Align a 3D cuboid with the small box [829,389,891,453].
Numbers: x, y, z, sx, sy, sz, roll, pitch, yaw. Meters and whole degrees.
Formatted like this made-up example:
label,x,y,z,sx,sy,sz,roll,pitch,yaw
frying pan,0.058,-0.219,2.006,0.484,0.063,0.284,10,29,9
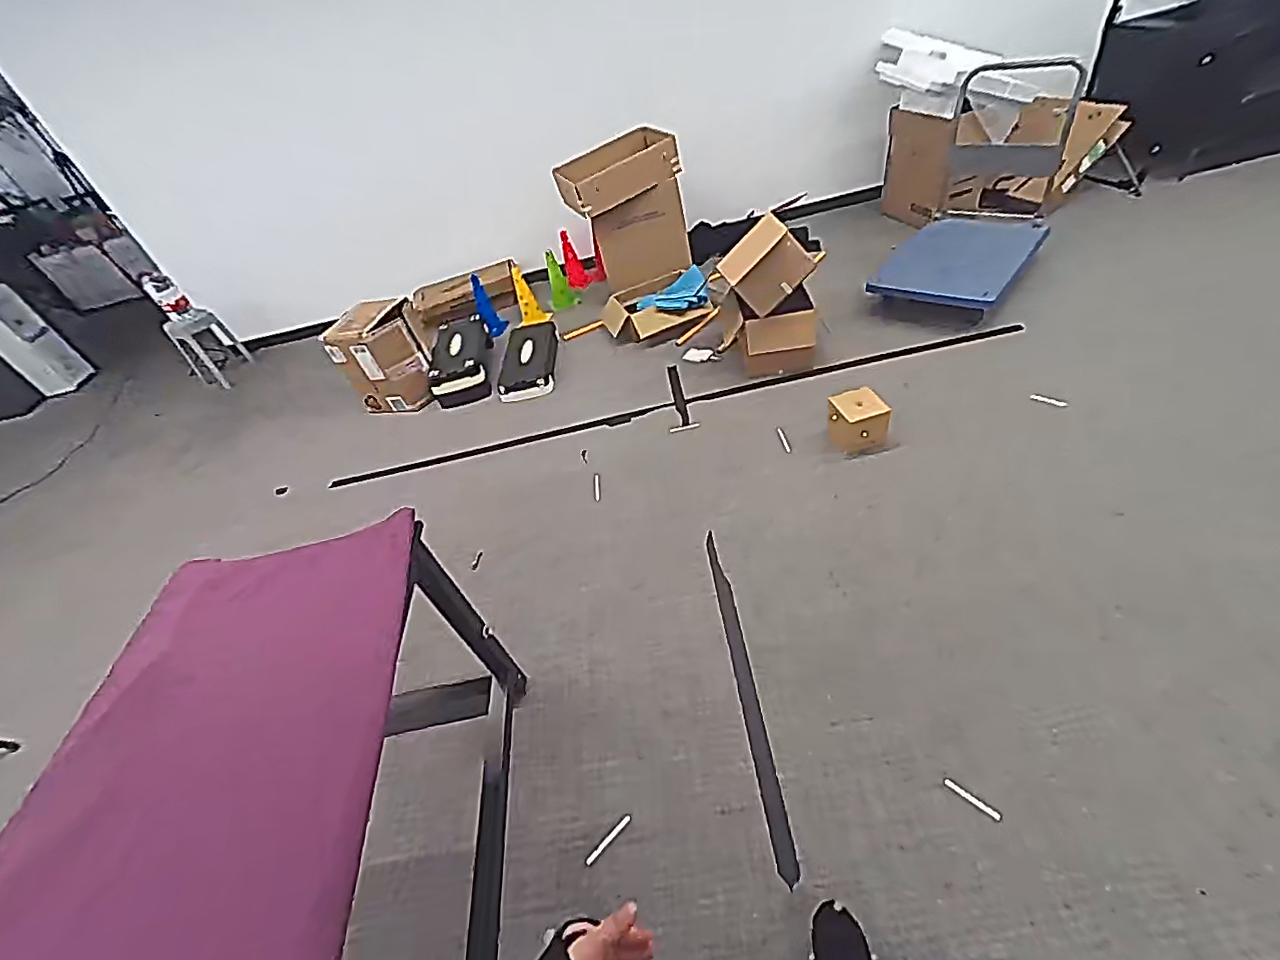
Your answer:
label,x,y,z,sx,sy,sz,roll,pitch,yaw
small box,0.857,-0.224,2.118,0.168,0.176,0.179,-17,42,-1
